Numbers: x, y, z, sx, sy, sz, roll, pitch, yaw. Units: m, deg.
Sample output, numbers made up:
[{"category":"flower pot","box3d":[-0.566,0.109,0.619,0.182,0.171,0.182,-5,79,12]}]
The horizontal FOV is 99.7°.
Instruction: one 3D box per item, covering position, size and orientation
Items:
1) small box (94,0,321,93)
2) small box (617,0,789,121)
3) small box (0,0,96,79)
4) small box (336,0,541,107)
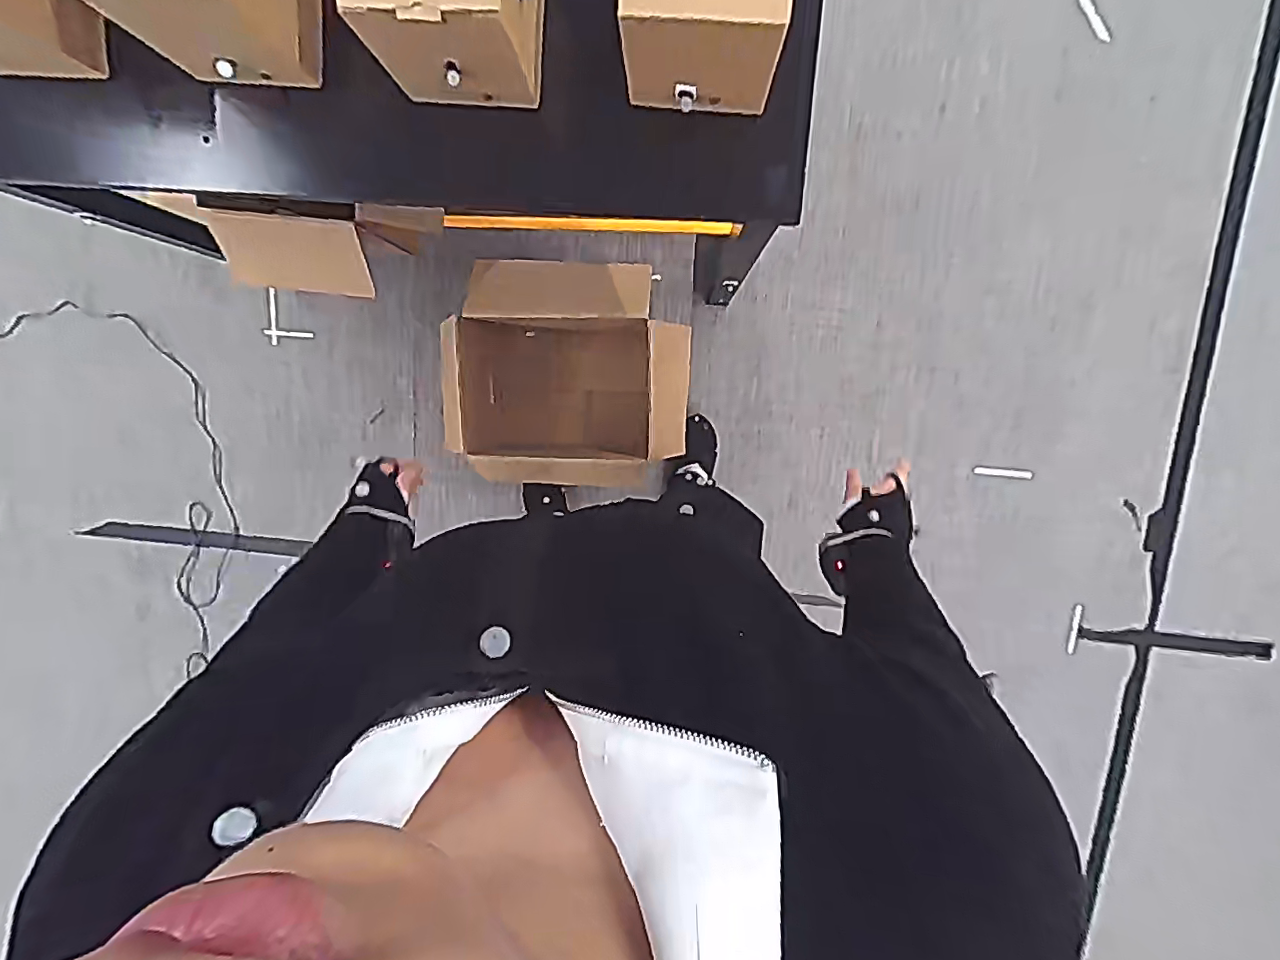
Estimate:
[{"category":"small box","box3d":[-0.482,-0.575,0.599,0.168,0.176,0.179,5,99,1]},{"category":"small box","box3d":[0.069,-0.531,0.587,0.168,0.176,0.179,5,98,3]},{"category":"small box","box3d":[-0.767,-0.586,0.604,0.179,0.176,0.168,3,98,1]},{"category":"small box","box3d":[-0.208,-0.545,0.594,0.168,0.176,0.179,4,99,2]}]
